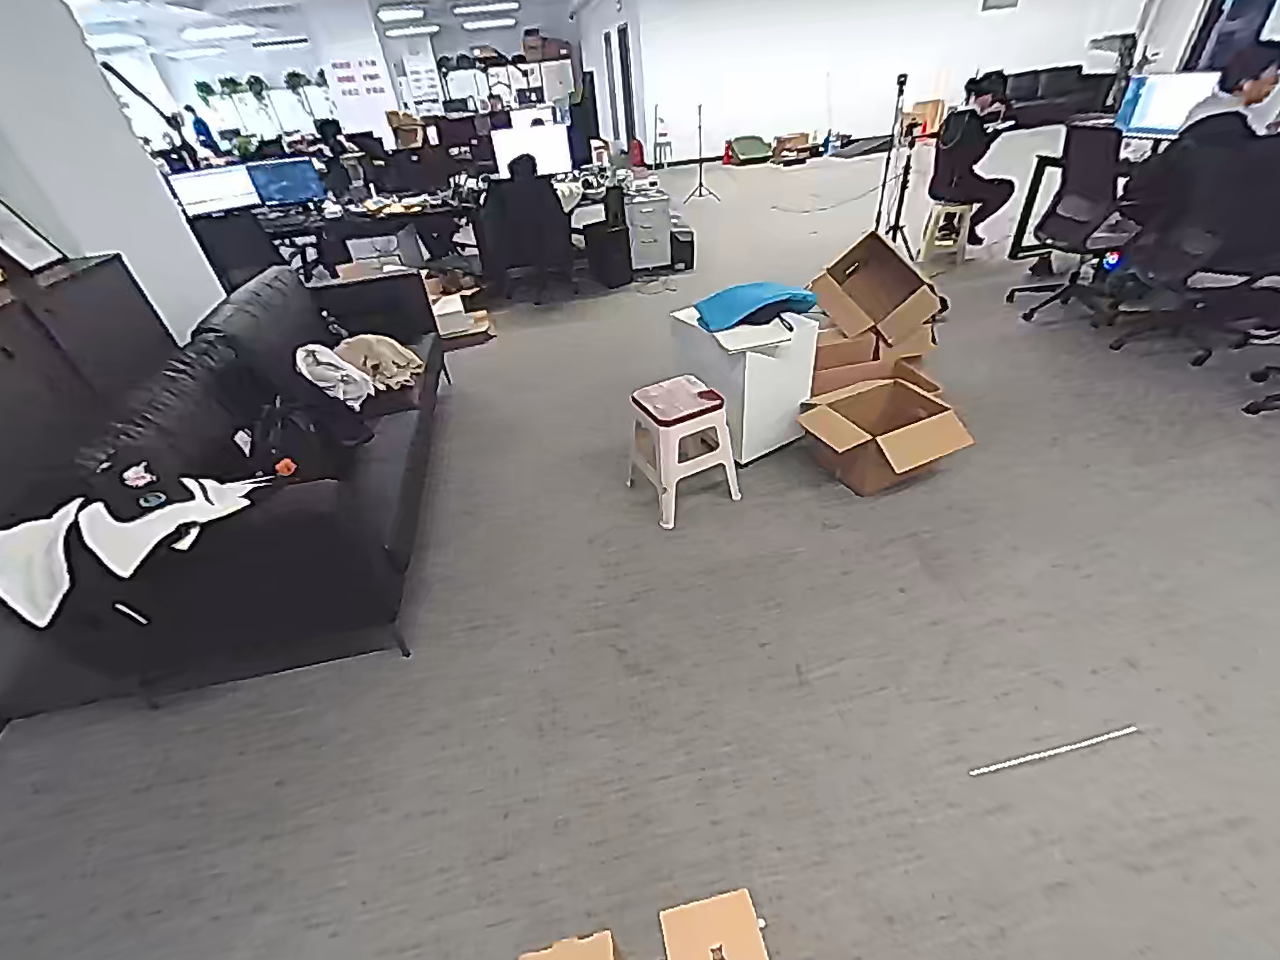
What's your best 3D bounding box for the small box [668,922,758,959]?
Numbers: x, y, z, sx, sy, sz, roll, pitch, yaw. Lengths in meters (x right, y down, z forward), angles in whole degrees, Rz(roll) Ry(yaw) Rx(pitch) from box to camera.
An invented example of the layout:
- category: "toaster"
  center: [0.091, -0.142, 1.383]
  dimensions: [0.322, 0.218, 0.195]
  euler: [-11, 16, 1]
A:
- category: "small box"
  center: [0.156, 0.995, 1.032]
  dimensions: [0.168, 0.176, 0.179]
  euler: [-11, 36, -7]
